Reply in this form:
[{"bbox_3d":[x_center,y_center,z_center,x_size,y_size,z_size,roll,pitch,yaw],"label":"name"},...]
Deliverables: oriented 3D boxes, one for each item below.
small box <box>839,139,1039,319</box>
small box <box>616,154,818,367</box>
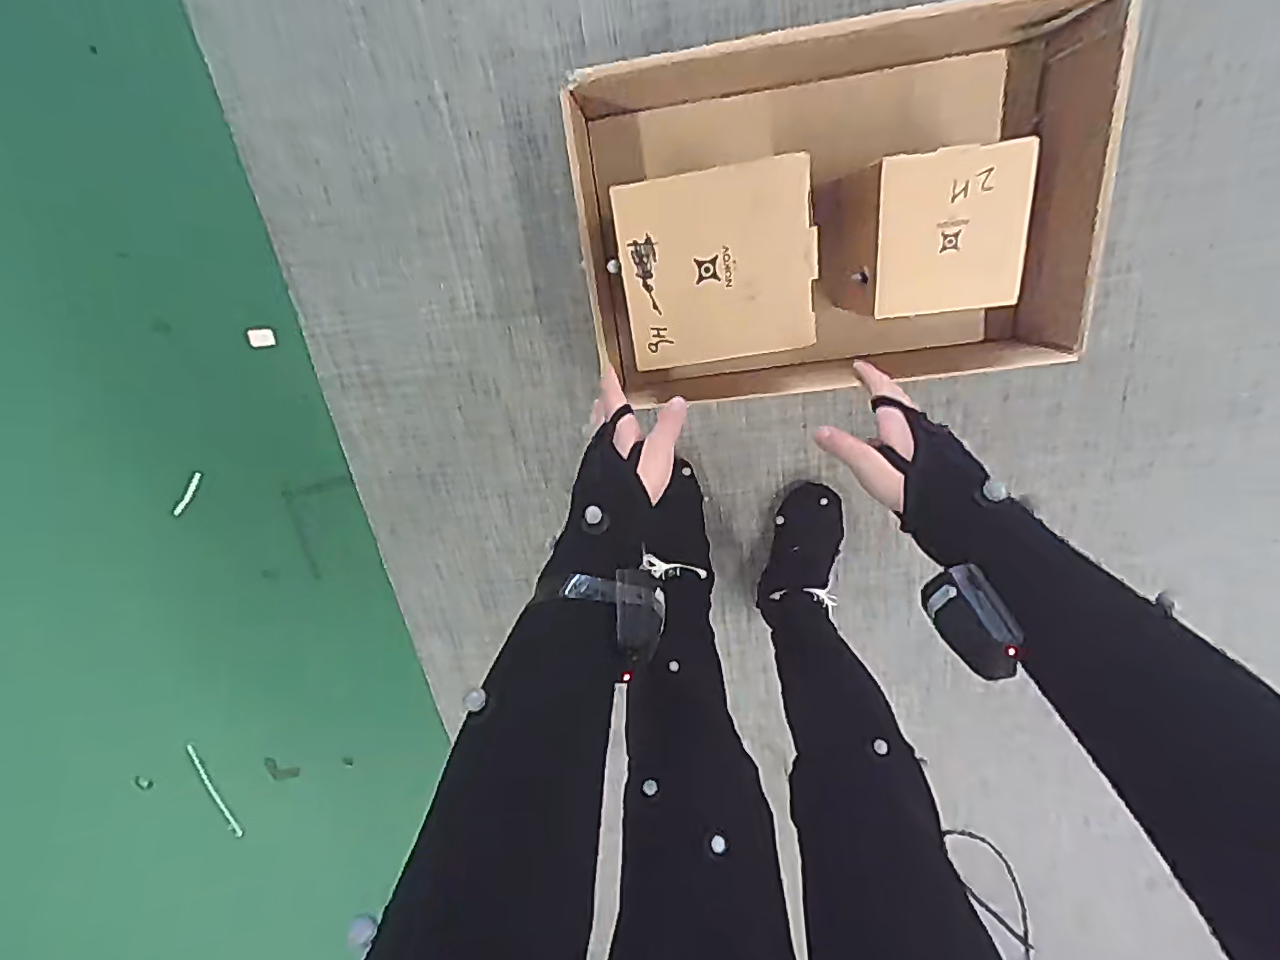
[{"bbox_3d":[0.362,-0.310,0.692,0.168,0.176,0.179,-4,110,6],"label":"small box"},{"bbox_3d":[0.076,-0.222,0.569,0.179,0.176,0.168,-7,109,5],"label":"small box"}]
